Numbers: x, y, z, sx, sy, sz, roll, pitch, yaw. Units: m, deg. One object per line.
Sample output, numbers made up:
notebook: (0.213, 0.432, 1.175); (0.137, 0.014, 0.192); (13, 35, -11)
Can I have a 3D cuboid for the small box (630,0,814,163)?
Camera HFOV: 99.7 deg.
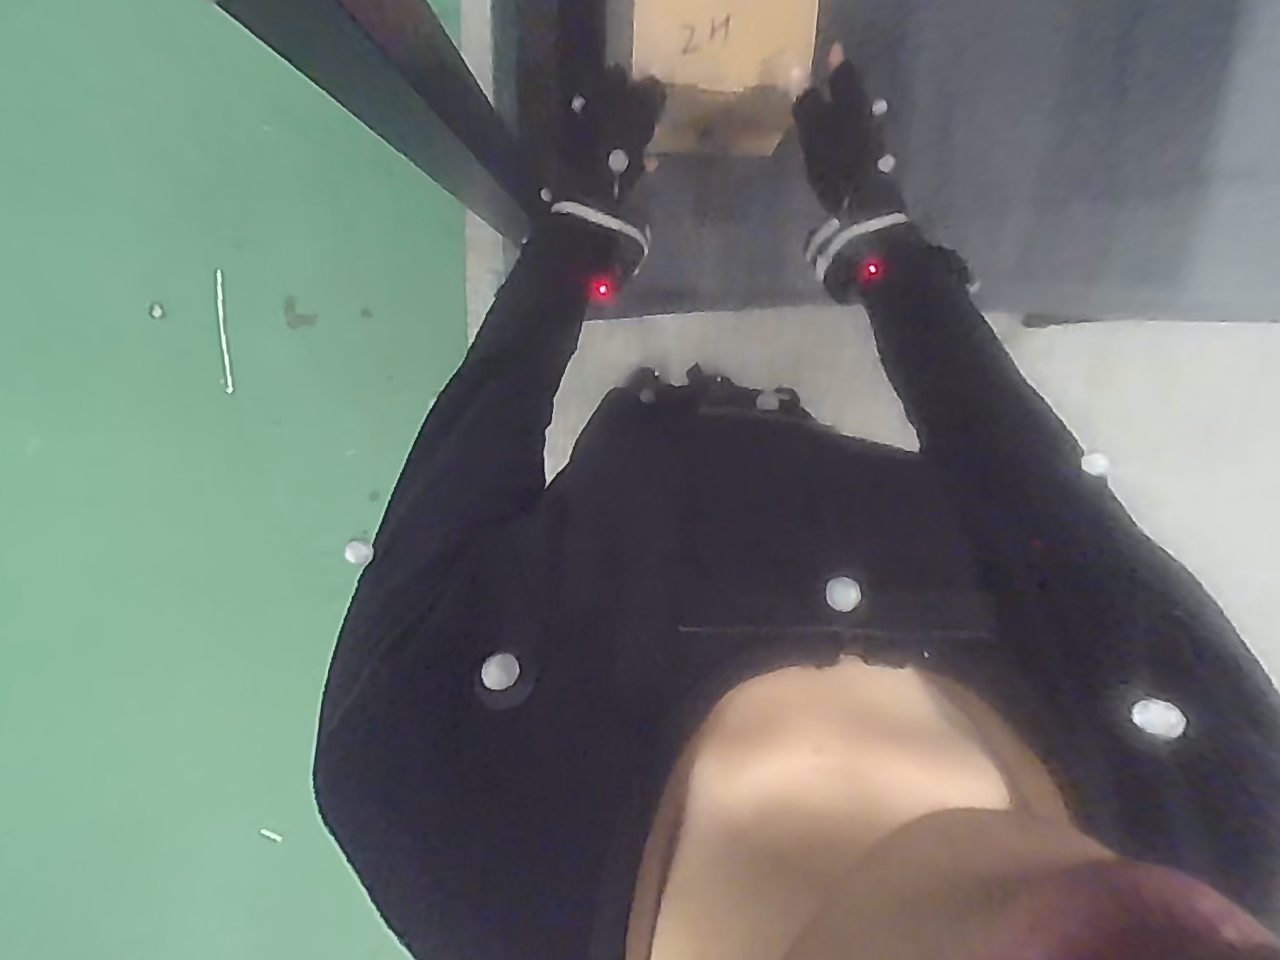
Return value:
small box: (0.077, -0.460, 0.562); (0.168, 0.176, 0.179); (2, 102, 1)
